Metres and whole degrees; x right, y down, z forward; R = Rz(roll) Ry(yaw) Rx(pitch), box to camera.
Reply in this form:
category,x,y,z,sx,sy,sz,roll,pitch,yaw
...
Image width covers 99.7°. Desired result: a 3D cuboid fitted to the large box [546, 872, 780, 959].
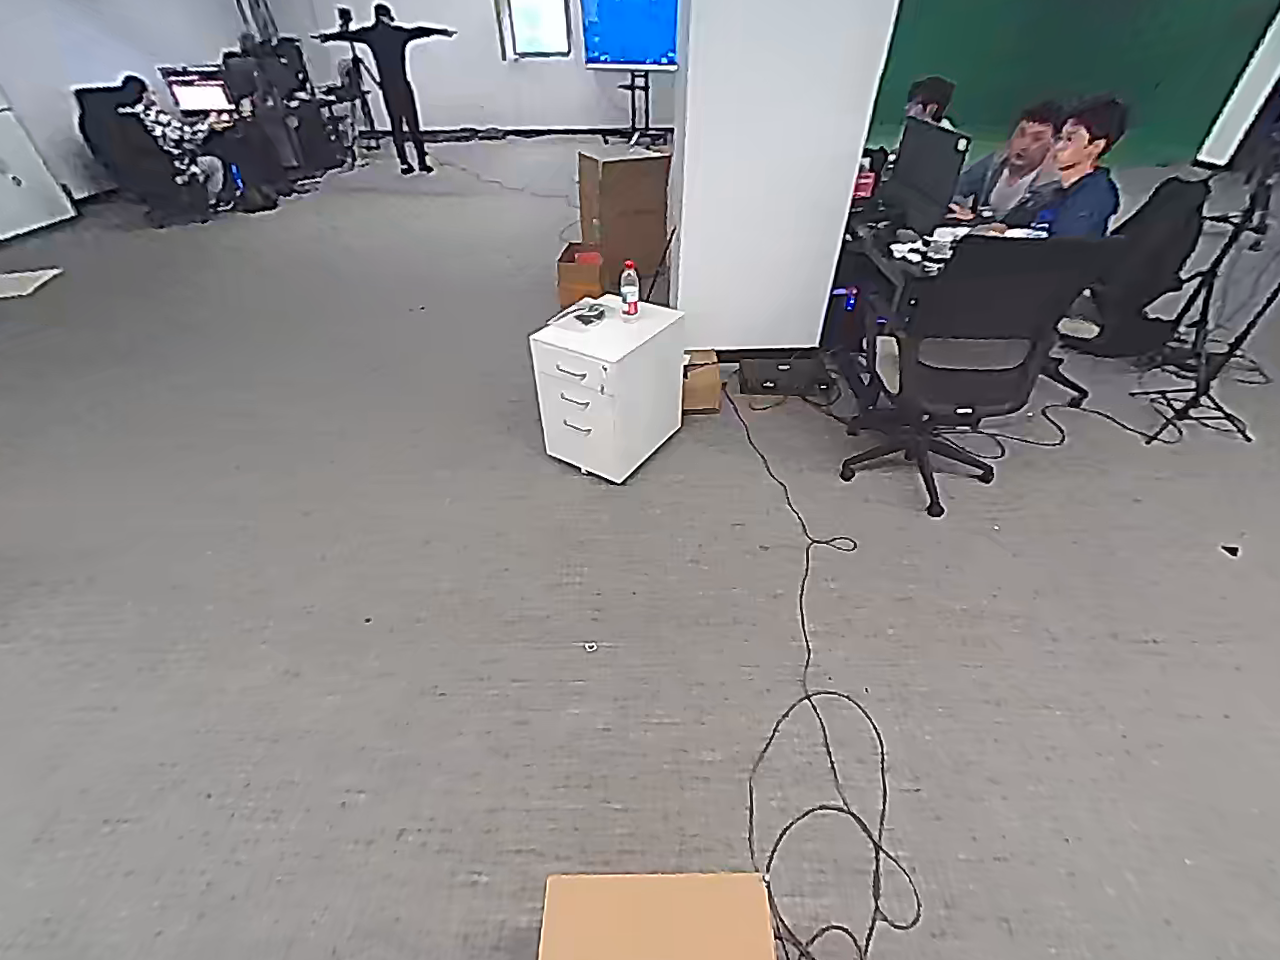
category,x,y,z,sx,sy,sz,roll,pitch,yaw
large box,0.041,0.950,0.984,0.408,0.320,0.320,-1,39,1
